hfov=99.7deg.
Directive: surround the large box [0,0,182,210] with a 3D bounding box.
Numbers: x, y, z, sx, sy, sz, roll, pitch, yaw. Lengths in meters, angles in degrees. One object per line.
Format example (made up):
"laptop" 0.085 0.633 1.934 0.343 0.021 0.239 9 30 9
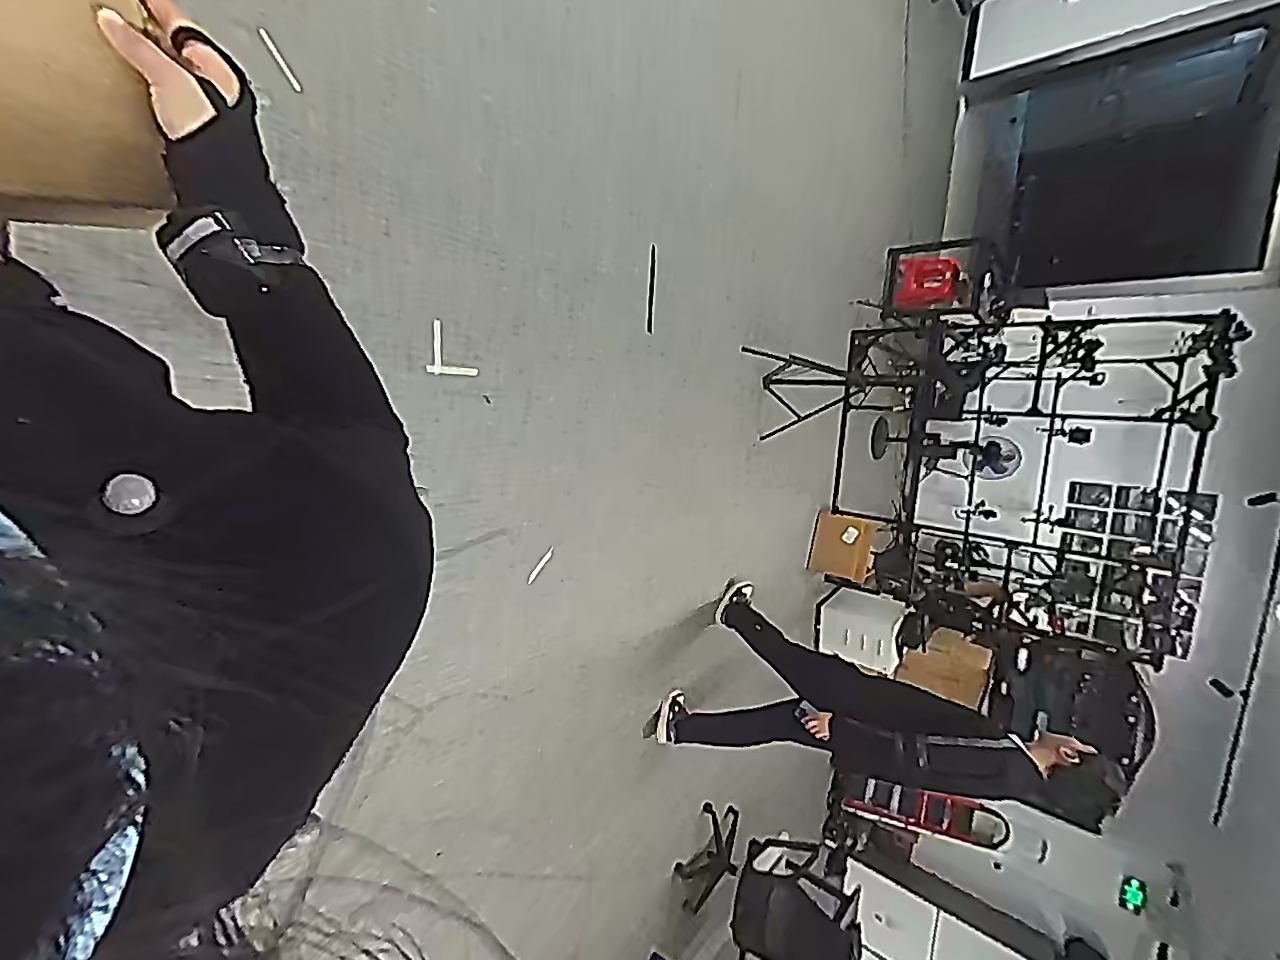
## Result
"large box" -0.607 -0.358 0.344 0.408 0.320 0.320 -19 118 -42
